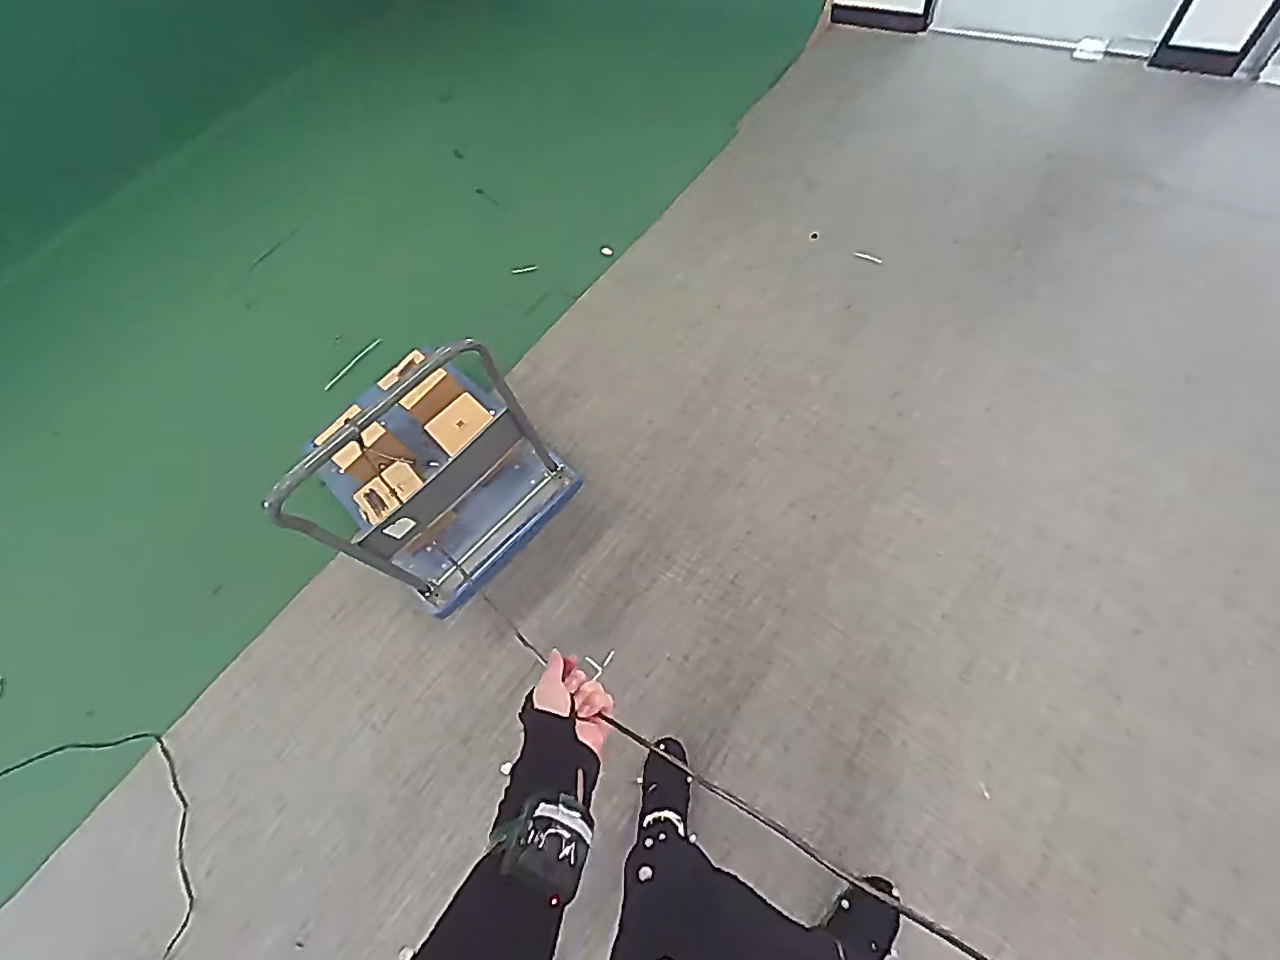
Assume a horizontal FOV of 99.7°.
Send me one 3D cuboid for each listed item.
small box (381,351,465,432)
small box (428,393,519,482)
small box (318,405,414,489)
[{"bbox_3d":[-0.690,-0.278,1.757,0.179,0.176,0.168,36,76,24],"label":"small box"},{"bbox_3d":[-0.500,-0.123,1.642,0.168,0.176,0.179,-44,64,-12],"label":"small box"},{"bbox_3d":[-0.851,-0.095,1.697,0.179,0.176,0.168,36,74,24],"label":"small box"}]
